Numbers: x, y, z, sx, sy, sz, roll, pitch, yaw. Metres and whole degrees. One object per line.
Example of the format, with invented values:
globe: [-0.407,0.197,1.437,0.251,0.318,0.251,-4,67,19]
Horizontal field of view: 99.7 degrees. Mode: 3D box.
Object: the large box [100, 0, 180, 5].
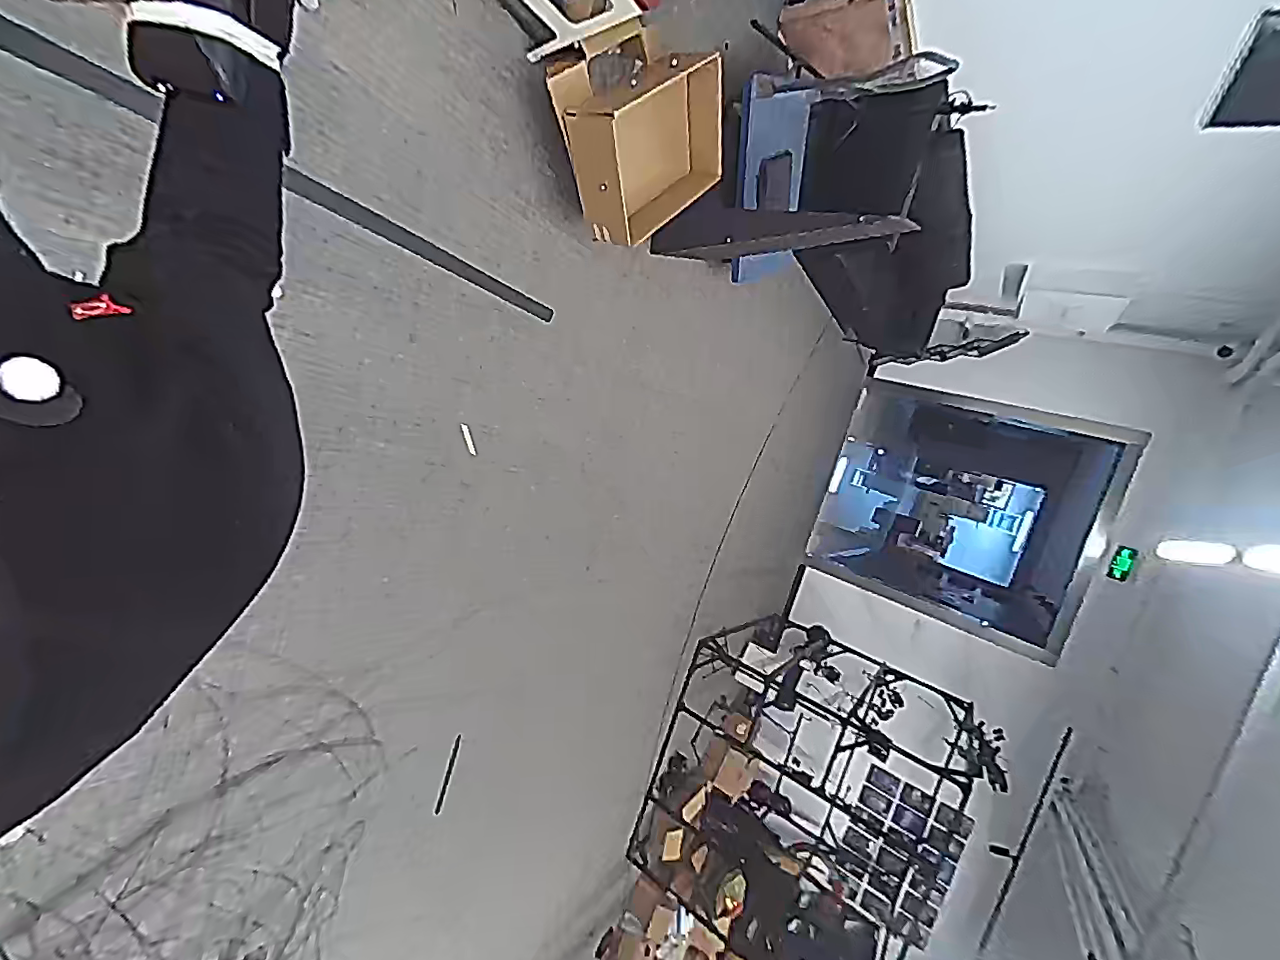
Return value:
large box: [-0.474,-0.508,0.223,0.408,0.320,0.320,-2,117,-61]
